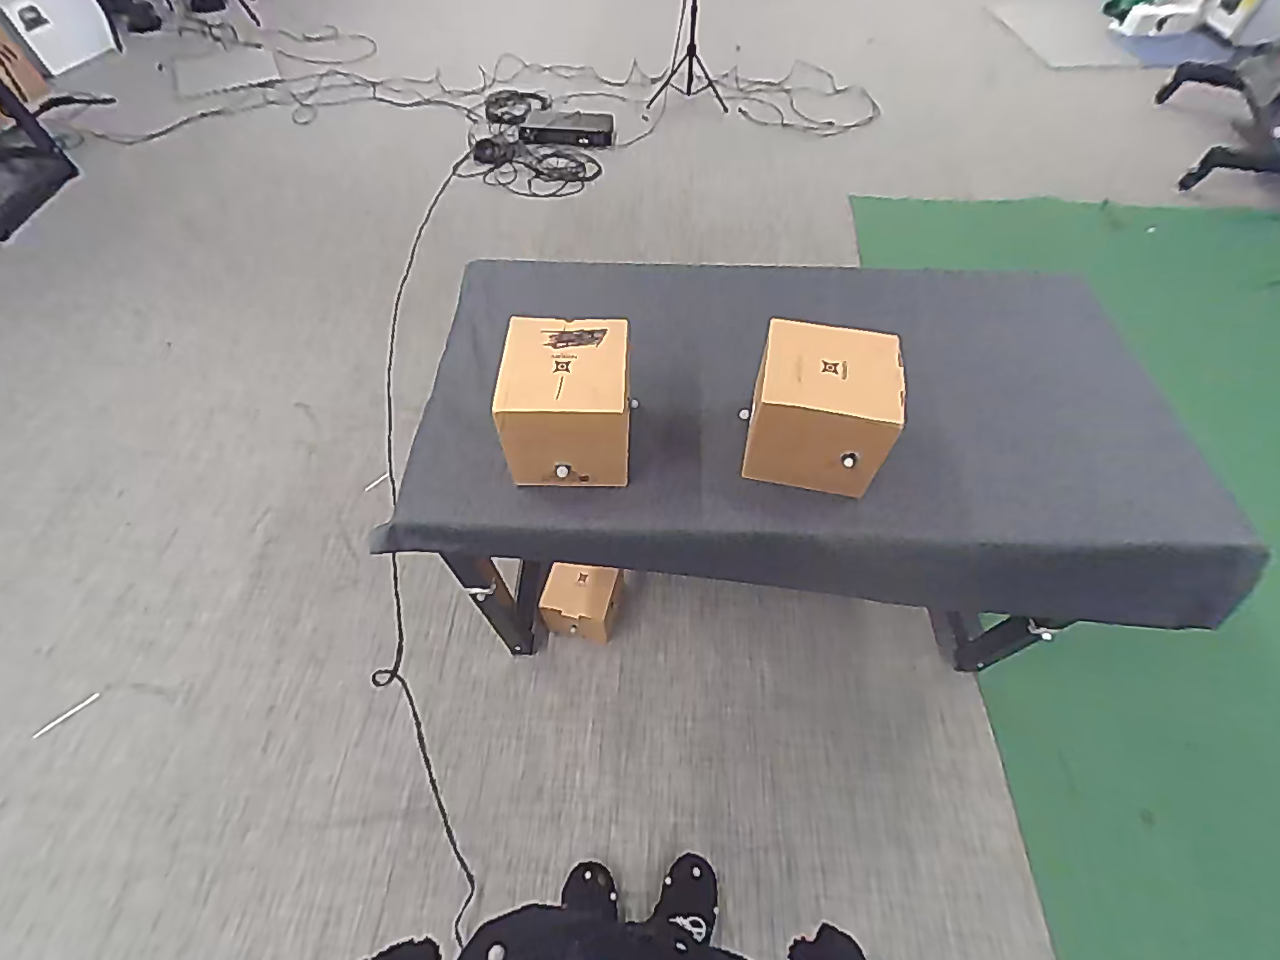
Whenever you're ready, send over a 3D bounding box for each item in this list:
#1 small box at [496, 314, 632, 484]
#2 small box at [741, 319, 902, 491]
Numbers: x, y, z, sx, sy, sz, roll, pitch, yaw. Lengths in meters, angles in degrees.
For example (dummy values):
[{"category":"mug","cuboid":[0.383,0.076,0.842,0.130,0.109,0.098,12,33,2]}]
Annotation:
[{"category":"small box","cuboid":[-0.097,-0.114,0.779,0.168,0.176,0.179,1,56,0]},{"category":"small box","cuboid":[0.252,-0.102,0.778,0.179,0.176,0.168,9,56,7]}]
